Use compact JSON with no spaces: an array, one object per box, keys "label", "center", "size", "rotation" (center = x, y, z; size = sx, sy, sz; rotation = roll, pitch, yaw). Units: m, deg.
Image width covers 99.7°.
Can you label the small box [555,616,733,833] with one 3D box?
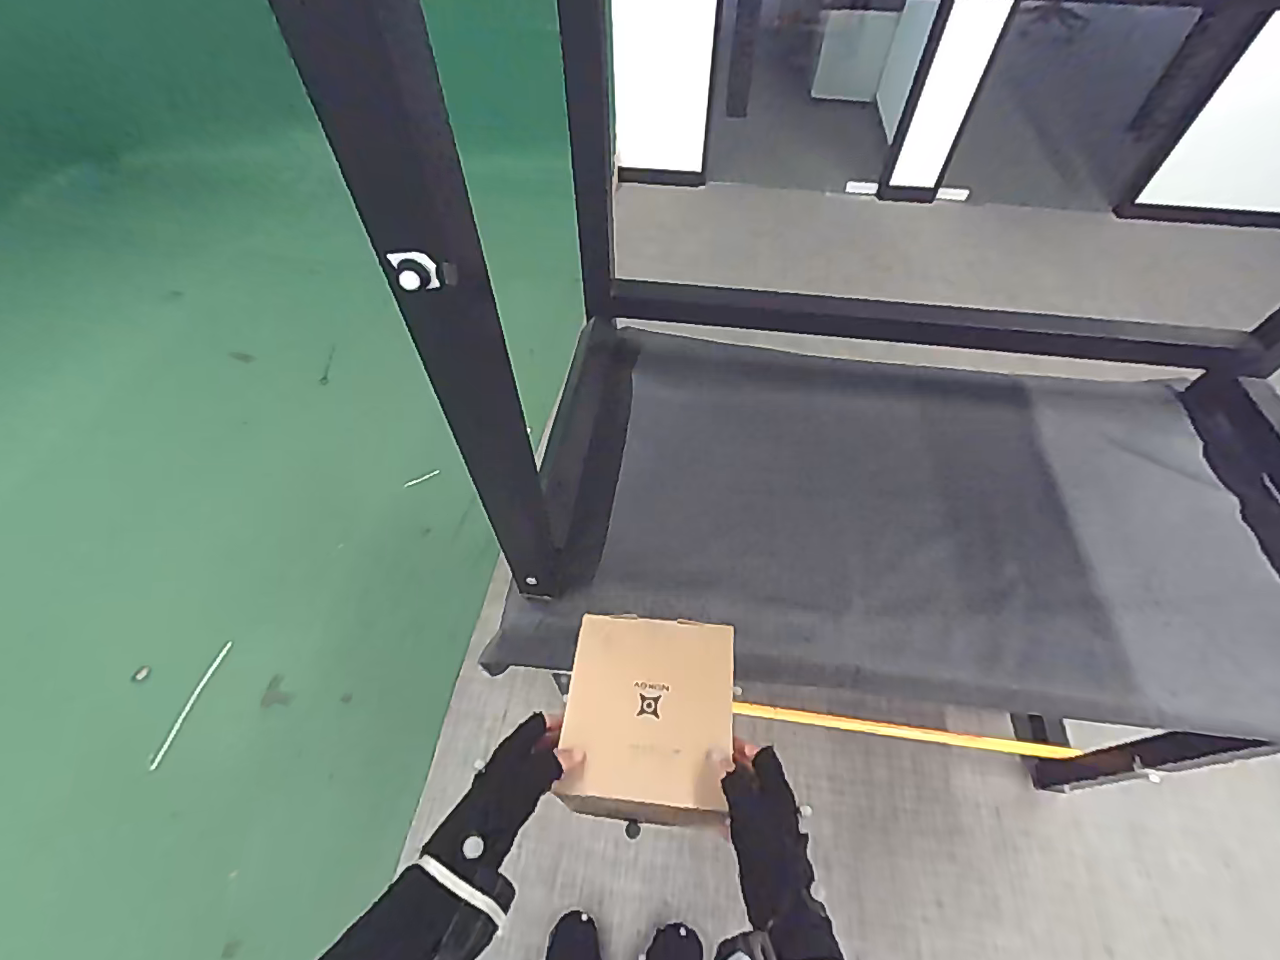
[{"label":"small box","center":[0.014,0.273,0.602],"size":[0.168,0.176,0.179],"rotation":[2,52,6]}]
